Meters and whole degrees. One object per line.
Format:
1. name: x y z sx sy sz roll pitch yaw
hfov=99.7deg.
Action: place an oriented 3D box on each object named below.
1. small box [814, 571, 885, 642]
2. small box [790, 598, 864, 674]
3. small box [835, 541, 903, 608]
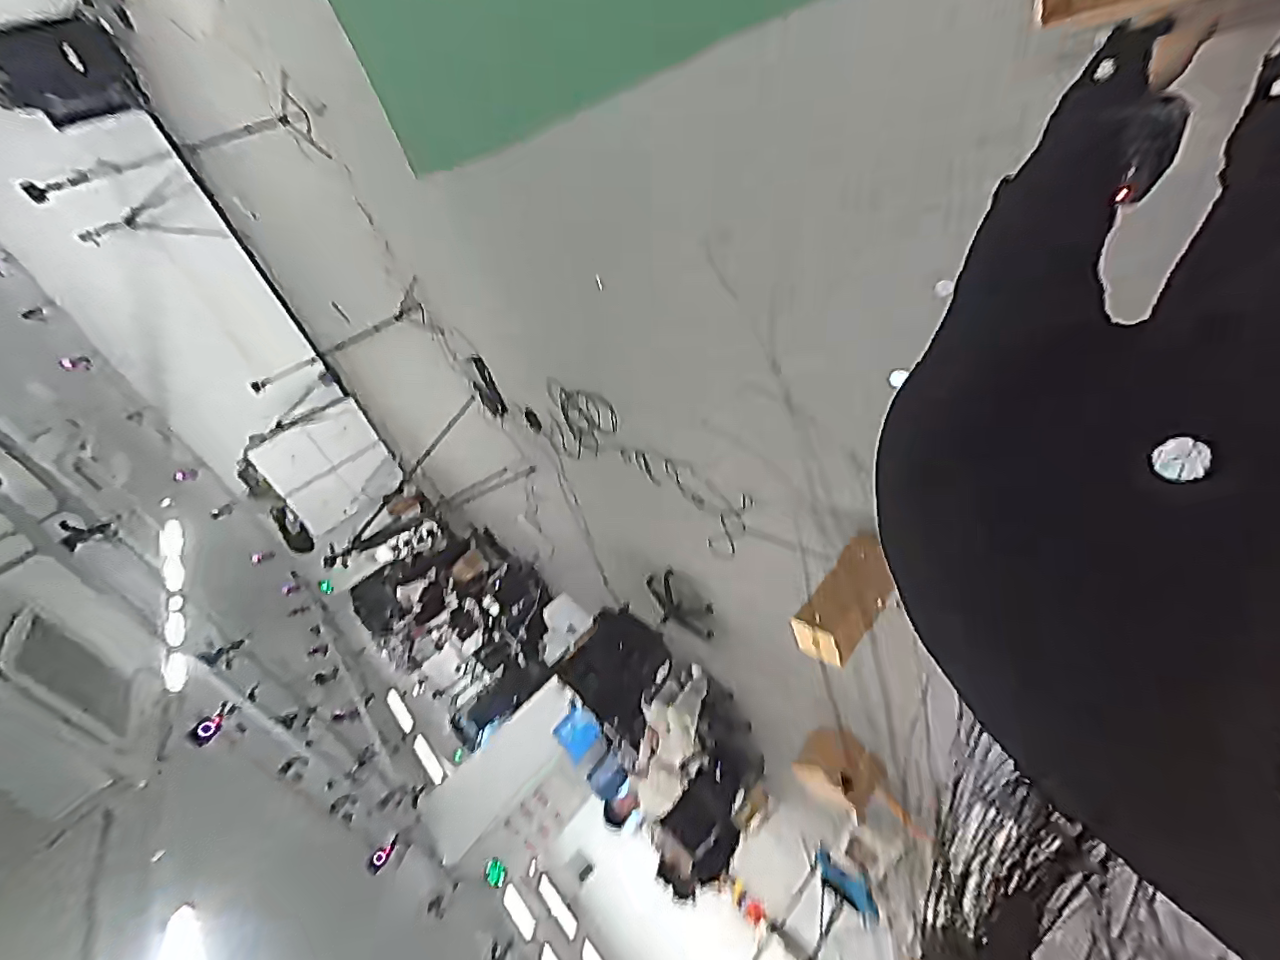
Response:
1. small box: 0.786 0.465 2.022 0.179 0.176 0.168 14 136 49
2. small box: 0.673 0.552 1.944 0.179 0.176 0.168 13 135 50
3. small box: 0.892 0.359 2.089 0.179 0.176 0.168 12 133 53
